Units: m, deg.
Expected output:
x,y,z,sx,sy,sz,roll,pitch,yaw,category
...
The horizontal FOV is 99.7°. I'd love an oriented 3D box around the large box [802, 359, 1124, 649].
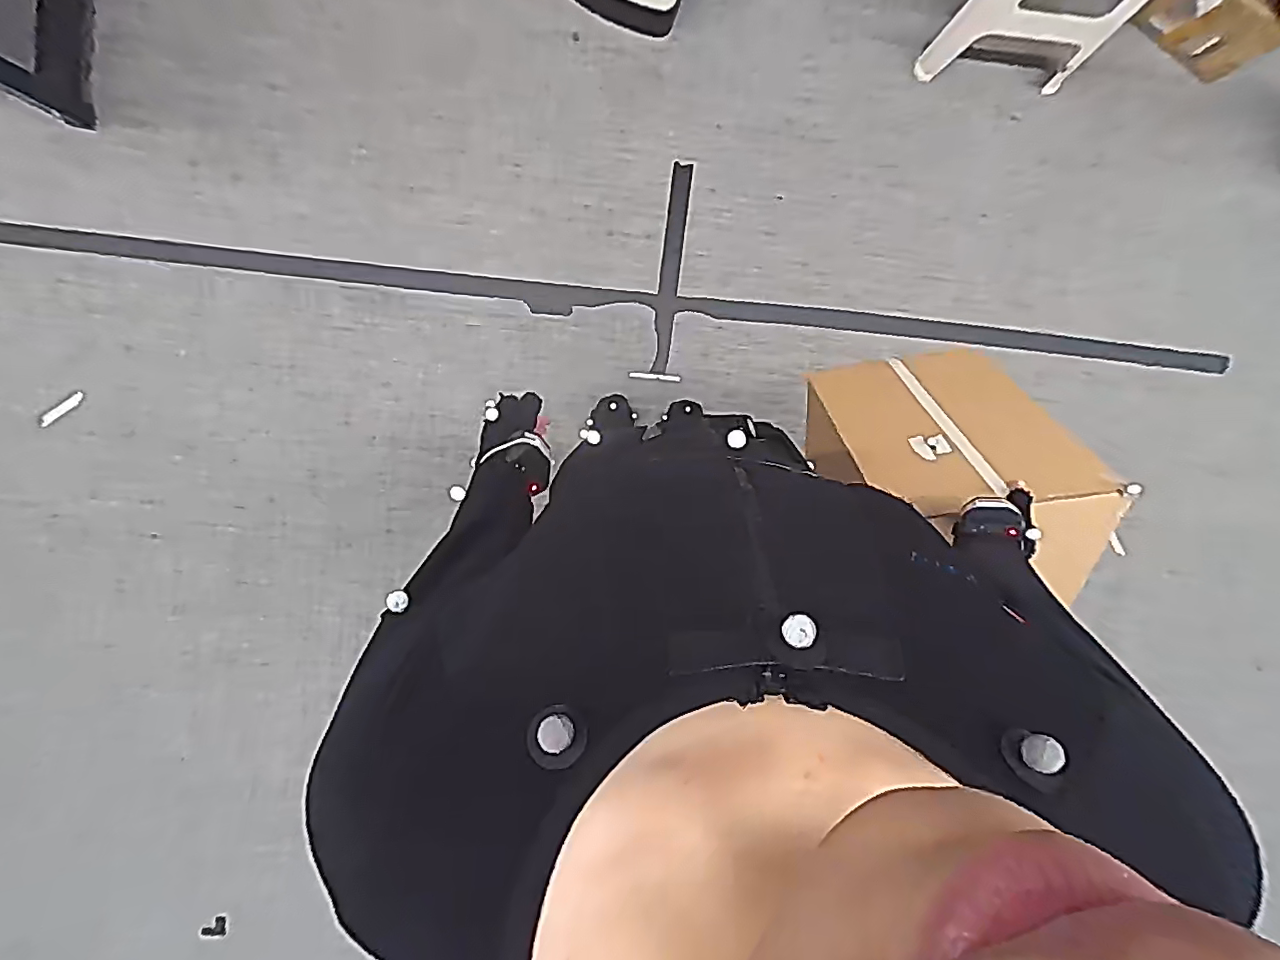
x,y,z,sx,sy,sz,roll,pitch,yaw,category
0.504,0.032,0.970,0.320,0.408,0.320,-9,131,4,large box
